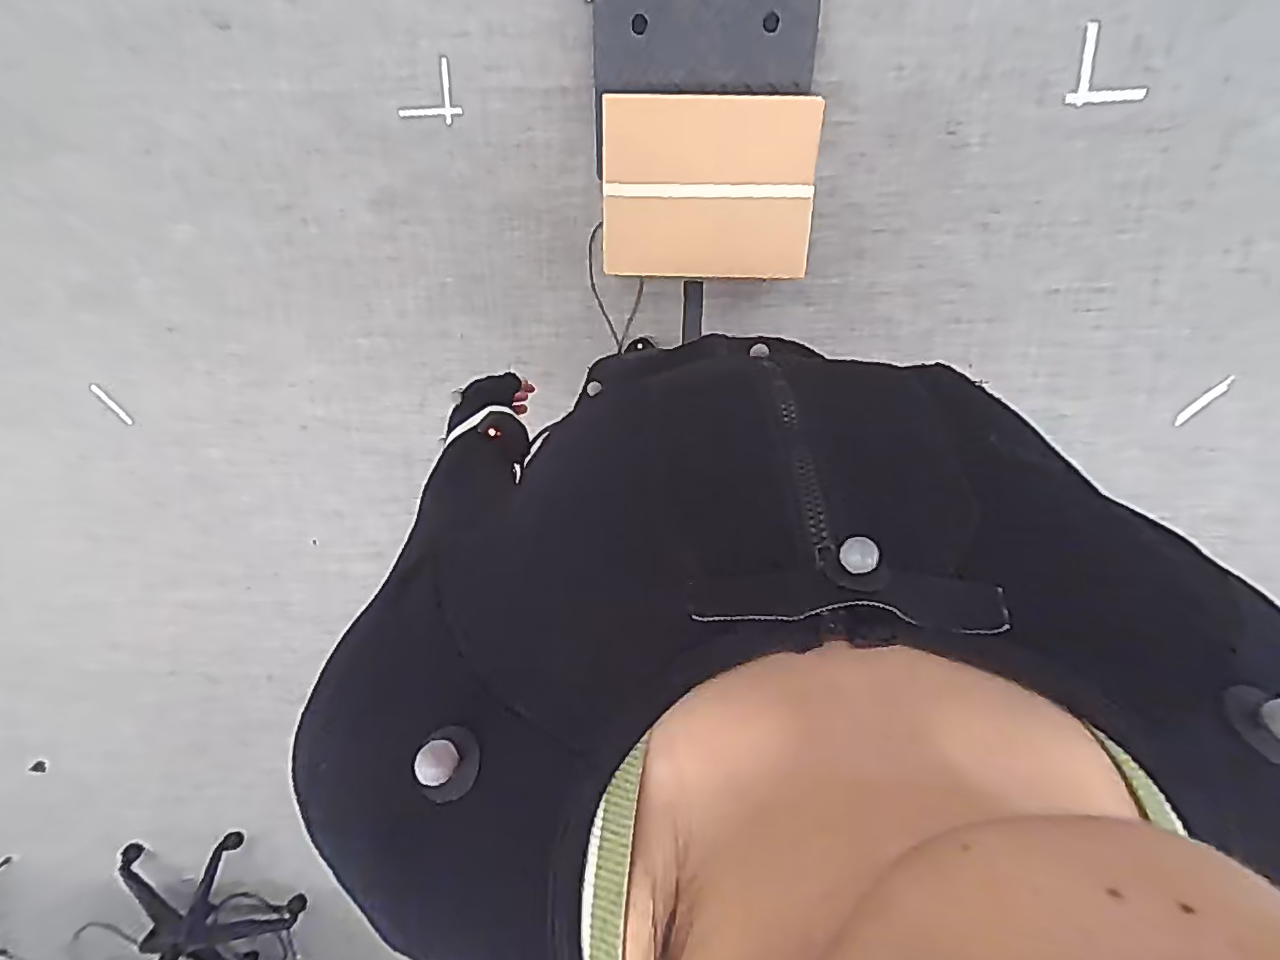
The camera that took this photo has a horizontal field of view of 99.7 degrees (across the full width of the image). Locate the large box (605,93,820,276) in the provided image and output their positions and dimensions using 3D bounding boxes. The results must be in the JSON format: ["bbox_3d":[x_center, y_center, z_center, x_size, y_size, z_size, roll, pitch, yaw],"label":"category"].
[{"bbox_3d":[0.140,-0.613,1.183,0.408,0.320,0.320,2,109,2],"label":"large box"}]

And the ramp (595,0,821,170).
[{"bbox_3d":[0.146,-1.196,1.089,0.509,0.206,0.991,-1,106,2],"label":"ramp"}]
